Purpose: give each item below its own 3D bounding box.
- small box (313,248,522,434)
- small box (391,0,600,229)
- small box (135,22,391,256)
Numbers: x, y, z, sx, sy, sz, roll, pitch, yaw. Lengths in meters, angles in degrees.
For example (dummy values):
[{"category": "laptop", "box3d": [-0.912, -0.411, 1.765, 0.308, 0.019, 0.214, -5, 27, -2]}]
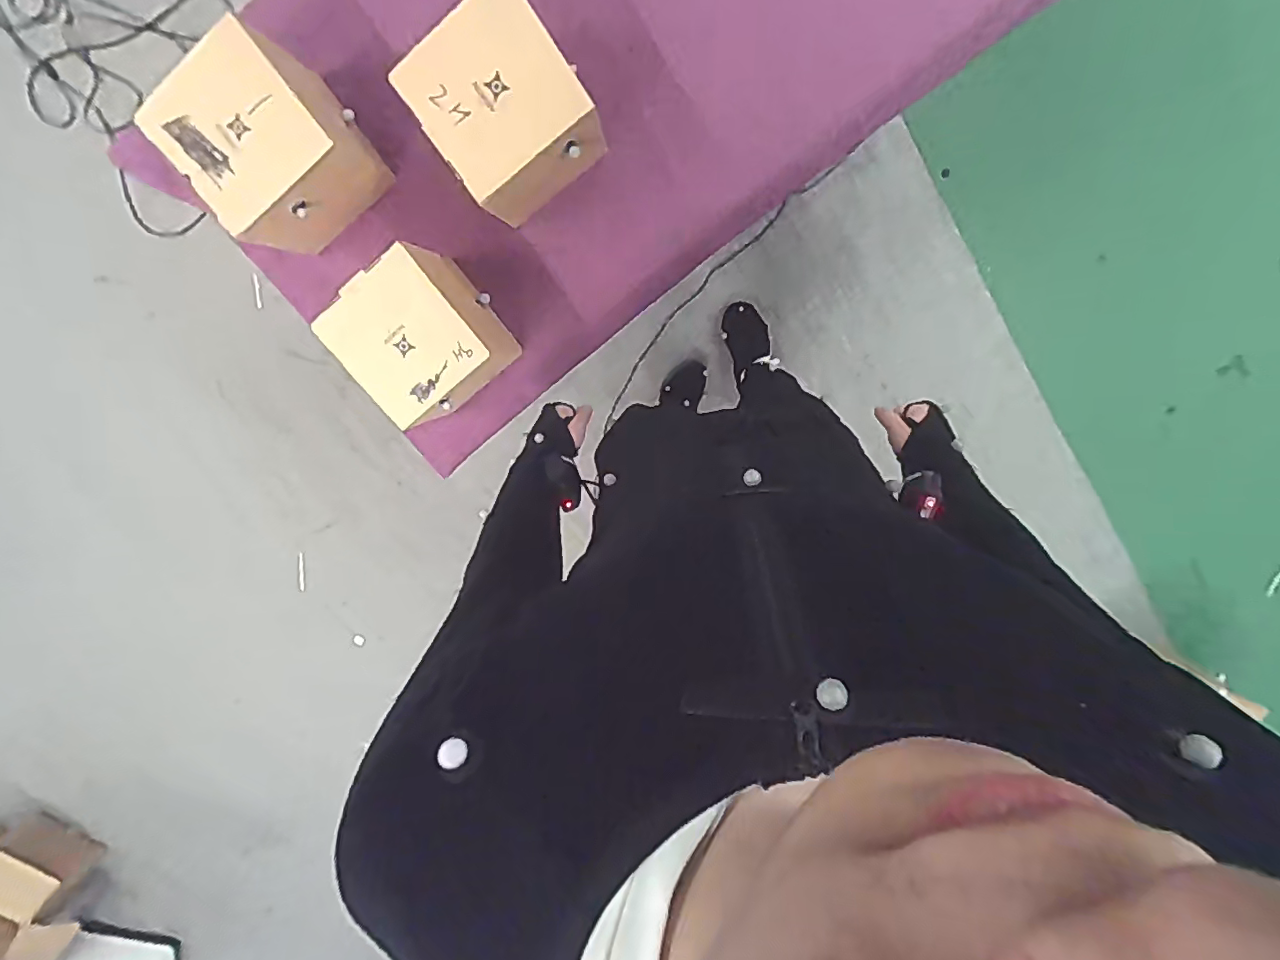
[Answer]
[{"category": "small box", "box3d": [-0.298, -0.191, 0.763, 0.168, 0.176, 0.179, -36, 100, 12]}, {"category": "small box", "box3d": [-0.163, -0.451, 0.682, 0.179, 0.176, 0.168, -34, 102, 11]}, {"category": "small box", "box3d": [-0.470, -0.418, 0.705, 0.179, 0.176, 0.168, -35, 103, 10]}]
